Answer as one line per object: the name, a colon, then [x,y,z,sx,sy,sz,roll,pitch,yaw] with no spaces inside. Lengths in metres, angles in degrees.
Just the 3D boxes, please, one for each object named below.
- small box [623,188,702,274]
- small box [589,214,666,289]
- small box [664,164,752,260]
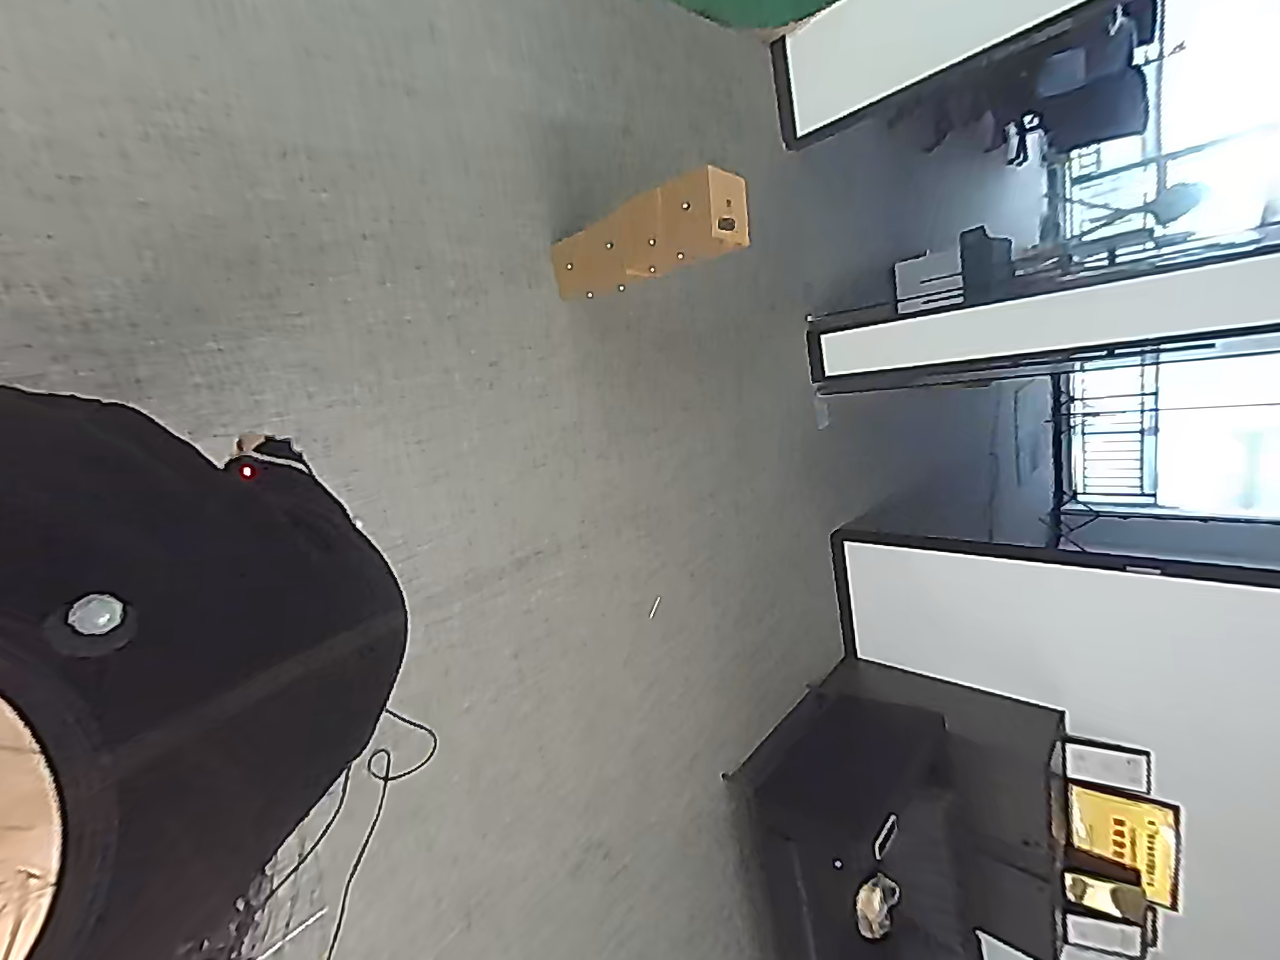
small box: [0.067,-0.719,1.579,0.168,0.176,0.179,-14,102,-42]
small box: [-0.043,-0.711,1.700,0.168,0.176,0.179,-18,103,-41]
small box: [0.183,-0.713,1.463,0.168,0.176,0.179,-11,98,-43]
